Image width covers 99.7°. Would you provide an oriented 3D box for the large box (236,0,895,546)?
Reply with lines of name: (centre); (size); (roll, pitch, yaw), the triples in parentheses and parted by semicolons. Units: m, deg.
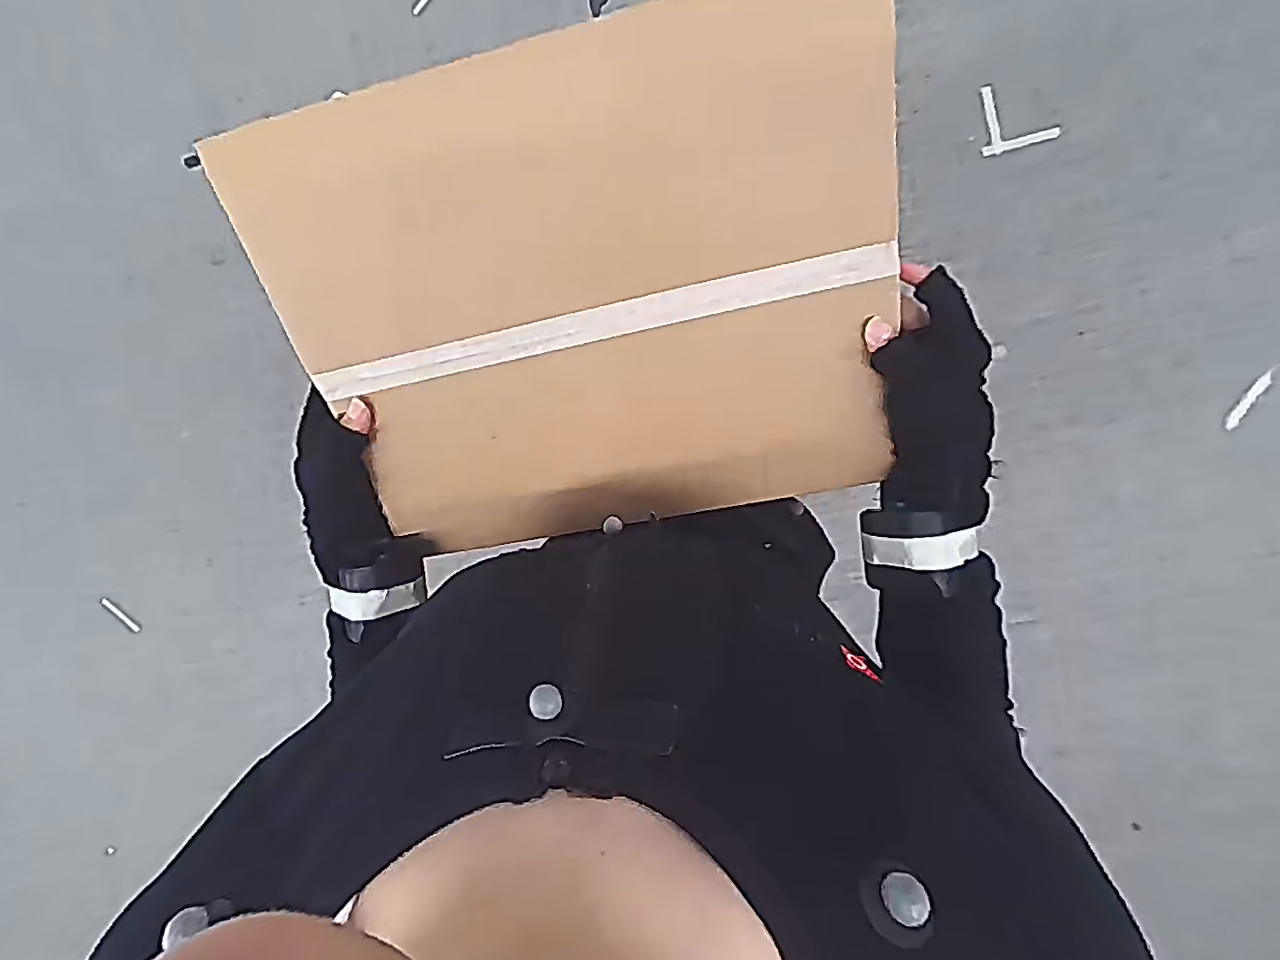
large box: (-0.026, -0.177, 0.508); (0.408, 0.320, 0.320); (-10, 117, 8)
